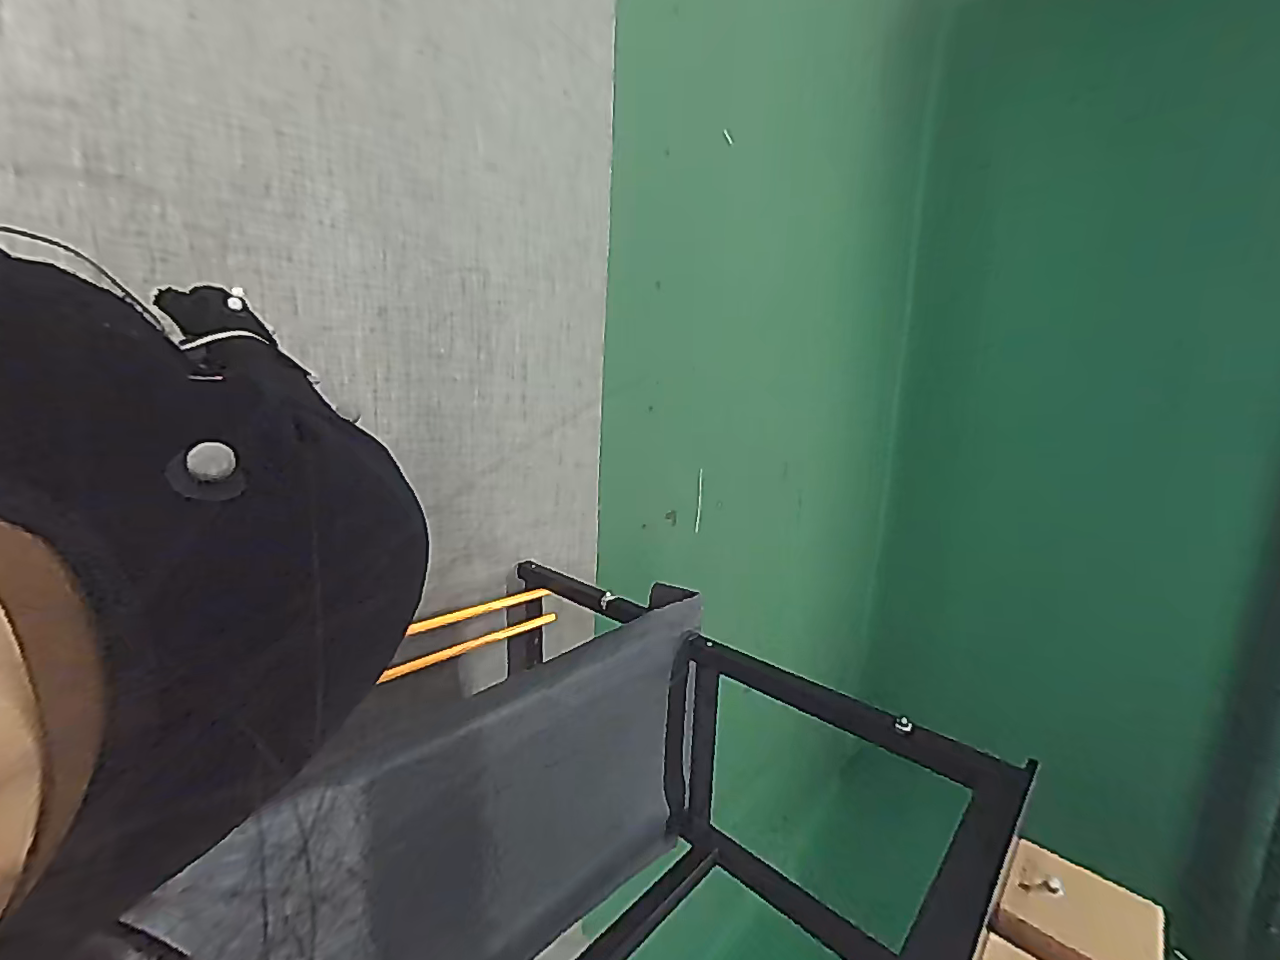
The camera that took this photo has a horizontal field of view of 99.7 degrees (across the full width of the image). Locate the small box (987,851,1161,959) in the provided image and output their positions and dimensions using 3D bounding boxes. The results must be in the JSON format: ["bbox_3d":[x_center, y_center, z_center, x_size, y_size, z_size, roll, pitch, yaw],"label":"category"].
[{"bbox_3d":[0.593,0.677,0.752,0.168,0.176,0.179,-7,102,-46],"label":"small box"}]
